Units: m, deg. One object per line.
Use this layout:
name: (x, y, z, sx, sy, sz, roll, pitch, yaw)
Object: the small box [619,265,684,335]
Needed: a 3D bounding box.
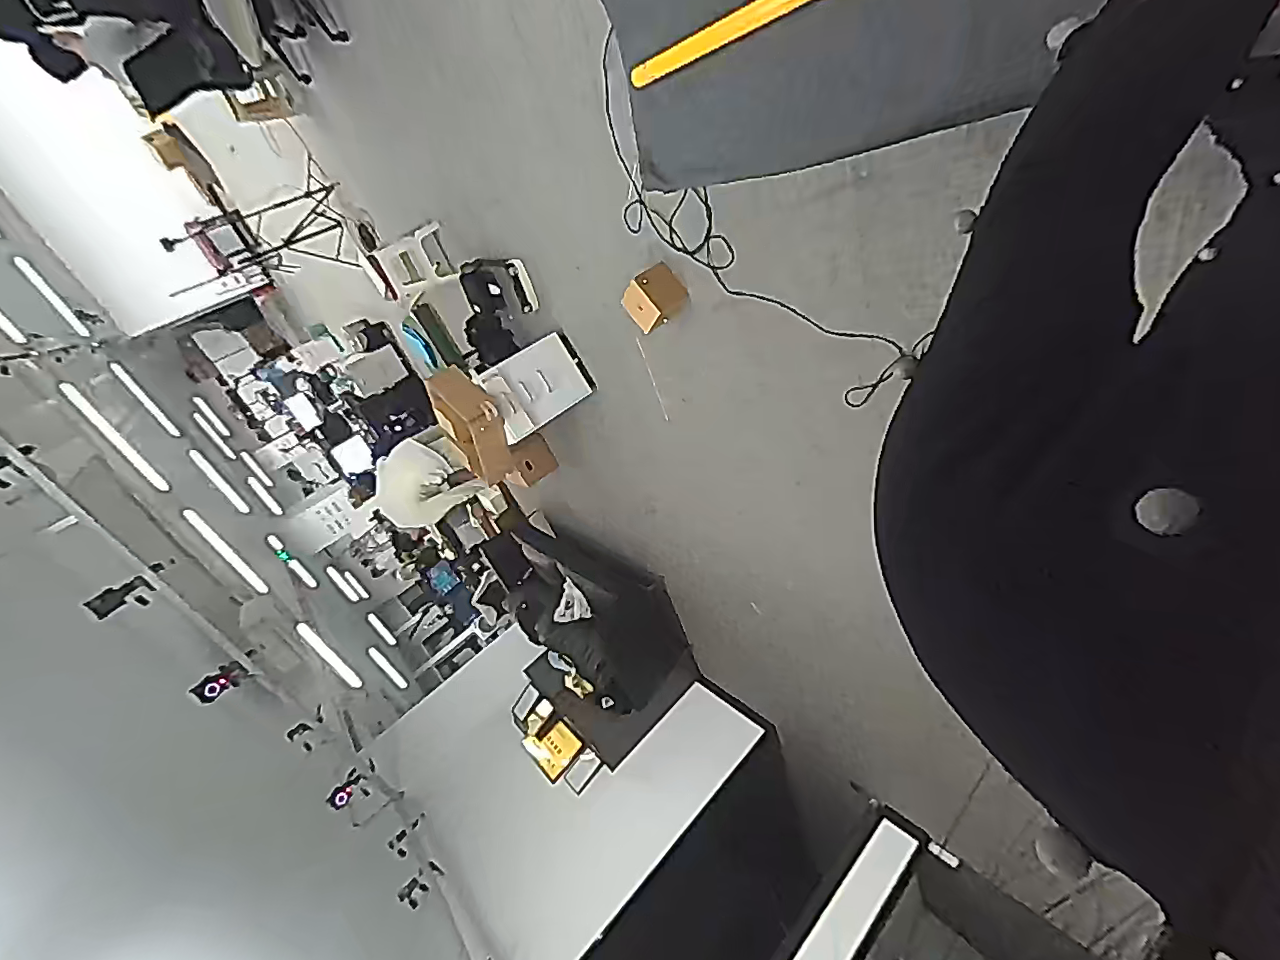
small box: (0.048, -0.726, 2.169, 0.179, 0.176, 0.168, 51, 155, 1)
